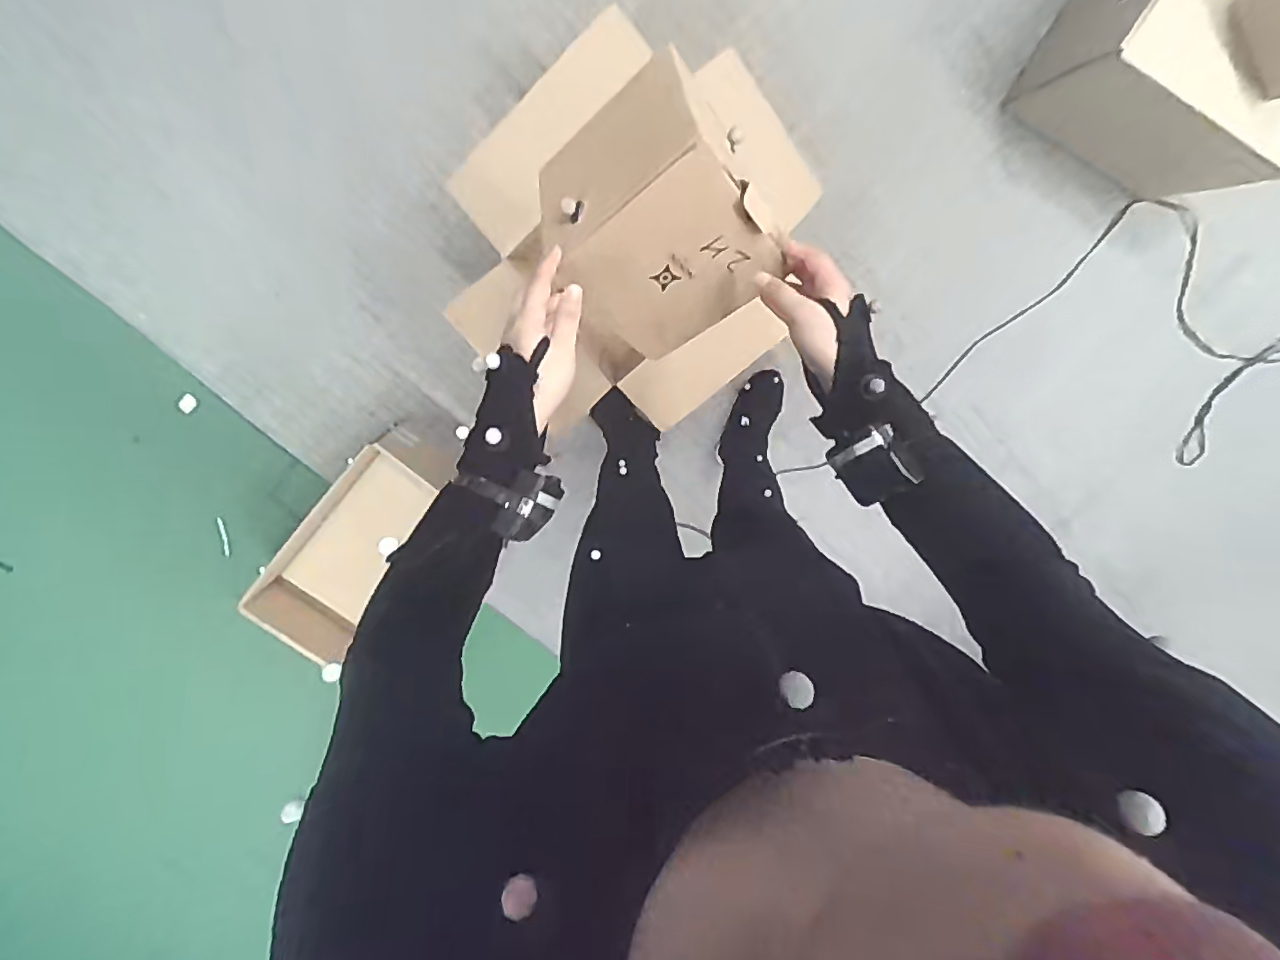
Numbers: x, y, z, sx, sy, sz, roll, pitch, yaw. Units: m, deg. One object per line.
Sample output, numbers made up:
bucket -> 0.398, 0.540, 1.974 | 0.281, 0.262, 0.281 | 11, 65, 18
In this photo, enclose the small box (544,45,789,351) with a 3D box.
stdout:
small box -> 0.020, -0.273, 0.547 | 0.179, 0.176, 0.168 | -29, 144, 29
